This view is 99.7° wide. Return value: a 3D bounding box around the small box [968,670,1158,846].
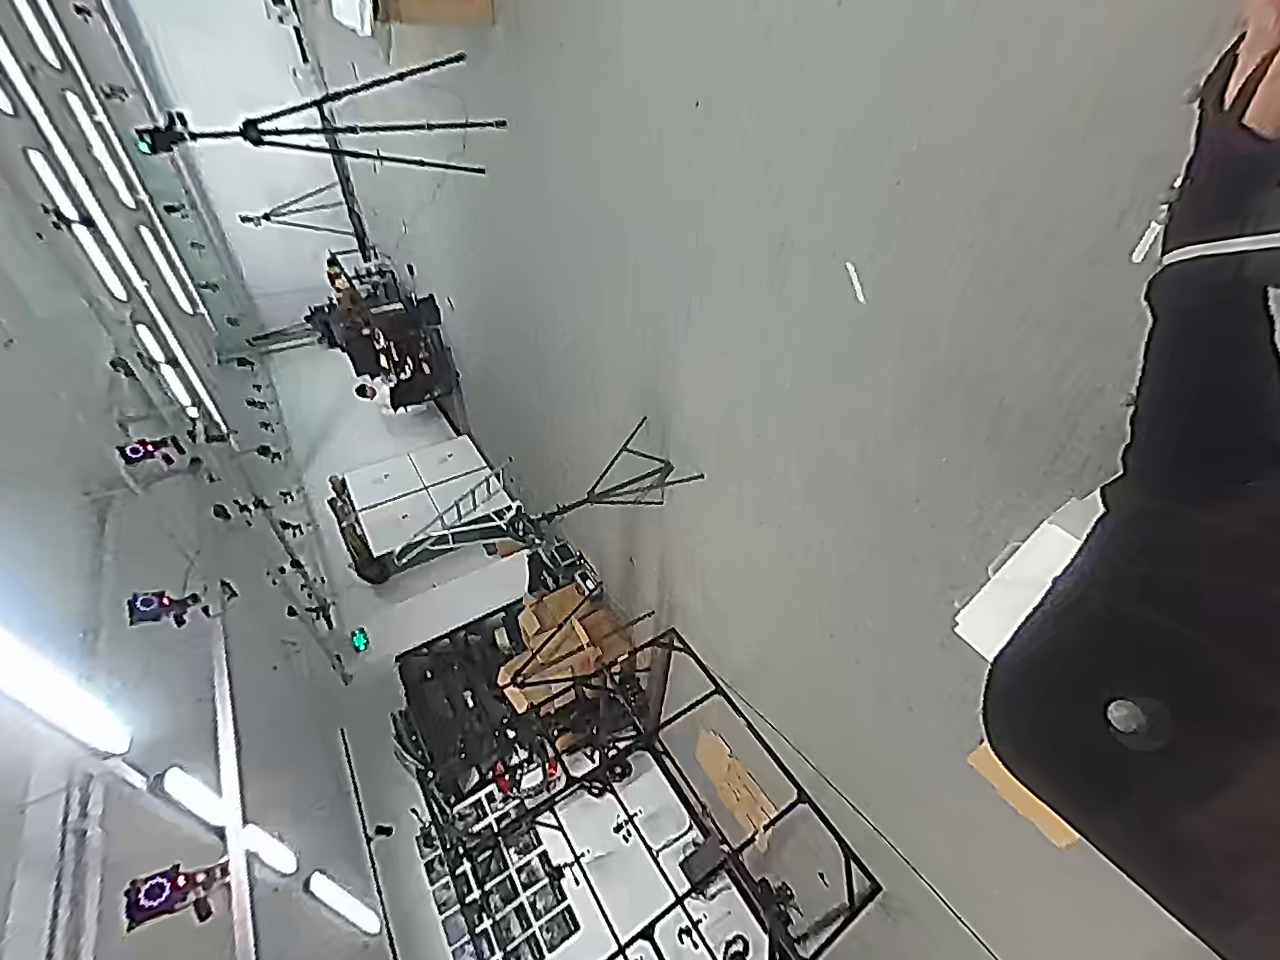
[{"bbox_3d":[0.700,0.453,0.899,0.168,0.176,0.179,45,147,39],"label":"small box"}]
